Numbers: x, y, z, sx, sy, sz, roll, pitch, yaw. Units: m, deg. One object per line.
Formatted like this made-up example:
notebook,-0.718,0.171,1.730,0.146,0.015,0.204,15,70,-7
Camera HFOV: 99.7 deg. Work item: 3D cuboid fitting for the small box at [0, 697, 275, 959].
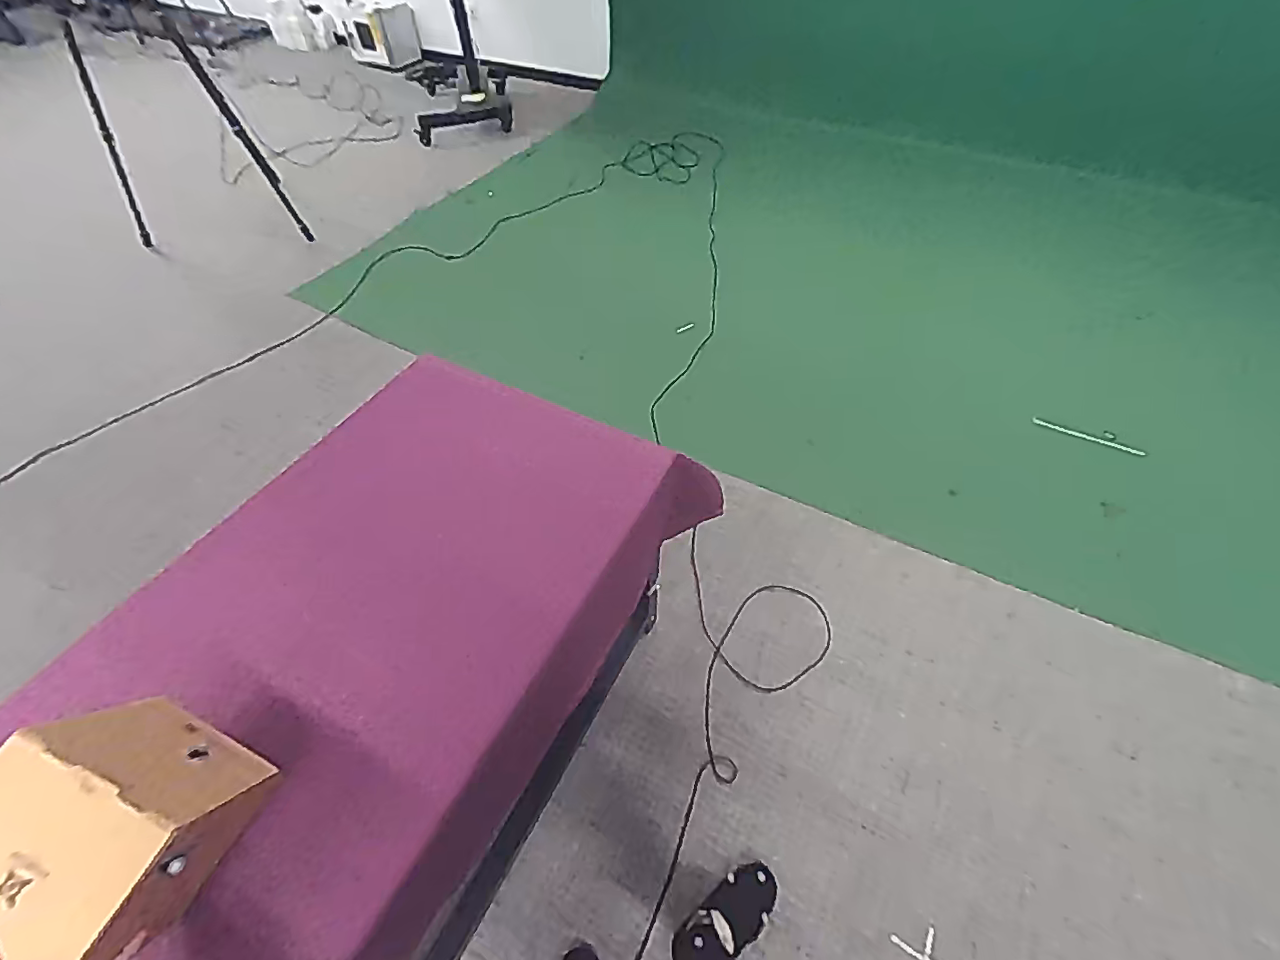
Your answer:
small box,-0.509,0.341,0.524,0.168,0.176,0.179,30,77,1
